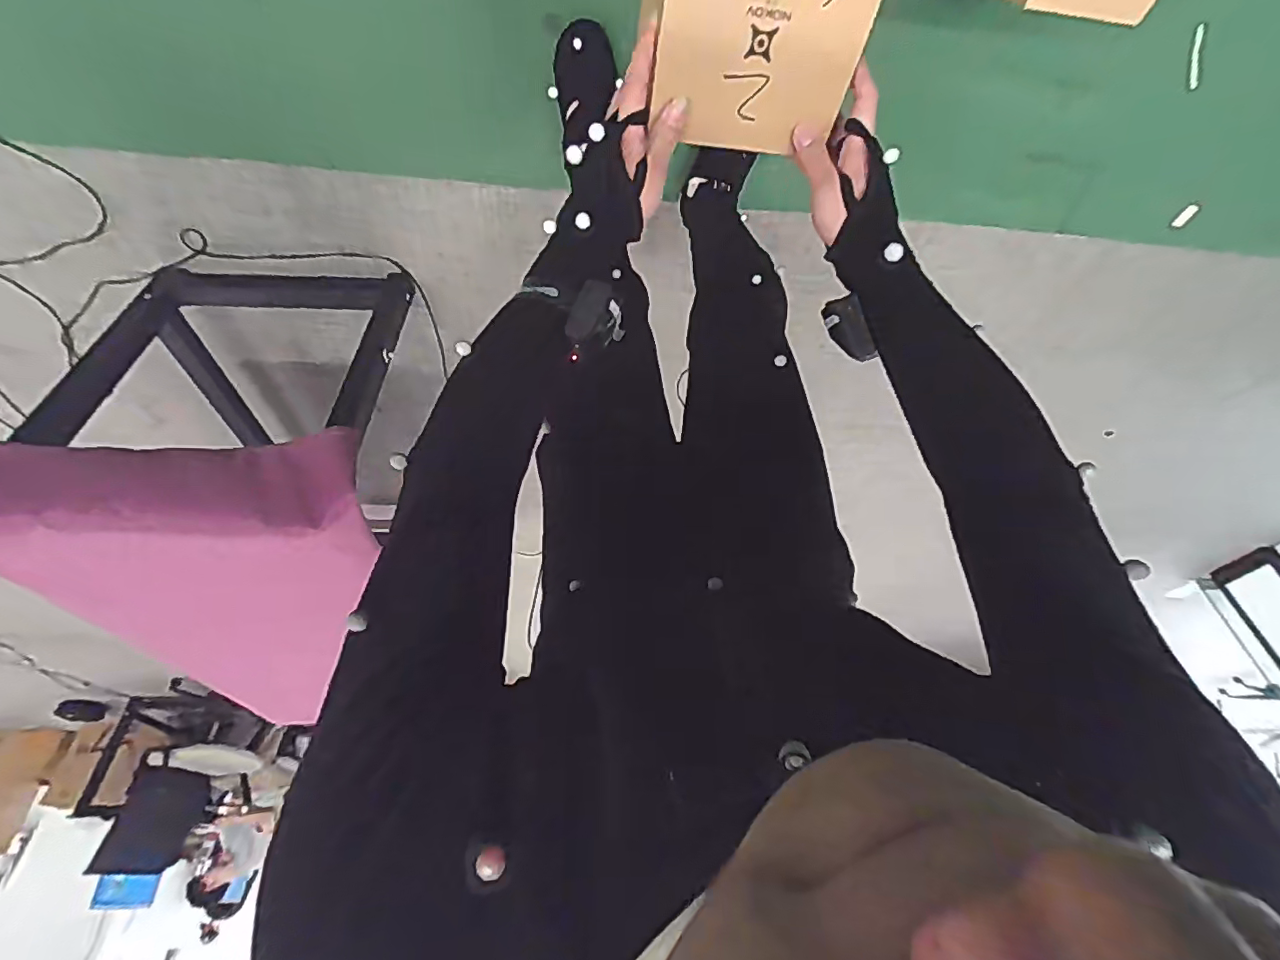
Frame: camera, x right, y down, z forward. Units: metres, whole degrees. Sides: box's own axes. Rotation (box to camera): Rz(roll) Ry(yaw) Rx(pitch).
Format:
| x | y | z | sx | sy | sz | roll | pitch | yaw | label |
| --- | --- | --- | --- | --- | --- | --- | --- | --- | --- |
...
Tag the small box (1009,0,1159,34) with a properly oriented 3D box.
| x | y | z | sx | sy | sz | roll | pitch | yaw | label |
| --- | --- | --- | --- | --- | --- | --- | --- | --- | --- |
| 0.577 | -0.705 | 0.680 | 0.168 | 0.176 | 0.179 | 3 | 142 | -7 | small box |
